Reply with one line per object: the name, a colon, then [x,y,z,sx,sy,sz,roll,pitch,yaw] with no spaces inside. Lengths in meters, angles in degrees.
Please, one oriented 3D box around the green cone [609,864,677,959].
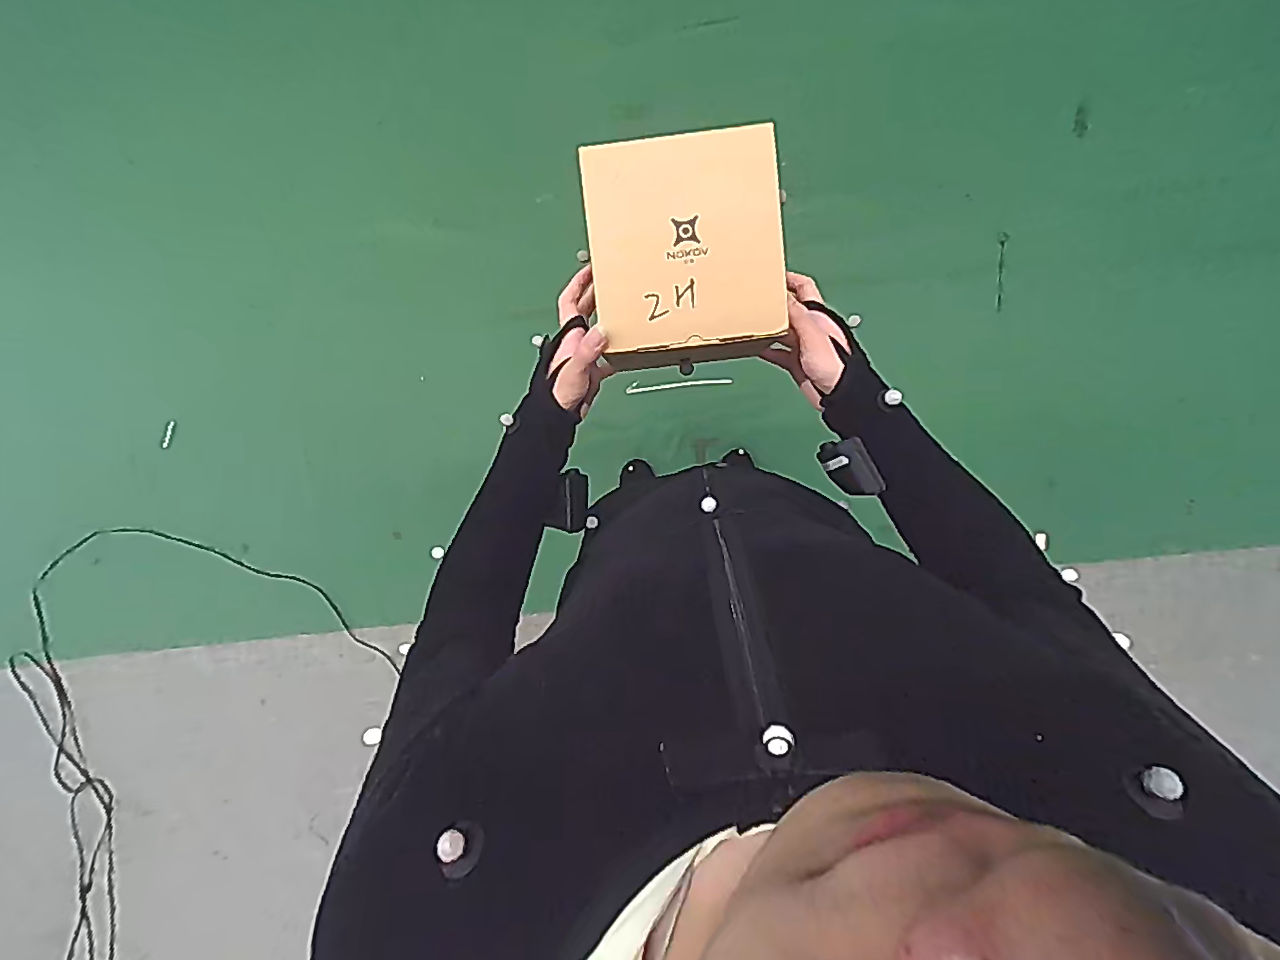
green cone: [0.001,1.316,1.532,0.202,0.368,0.200,-6,92,4]
